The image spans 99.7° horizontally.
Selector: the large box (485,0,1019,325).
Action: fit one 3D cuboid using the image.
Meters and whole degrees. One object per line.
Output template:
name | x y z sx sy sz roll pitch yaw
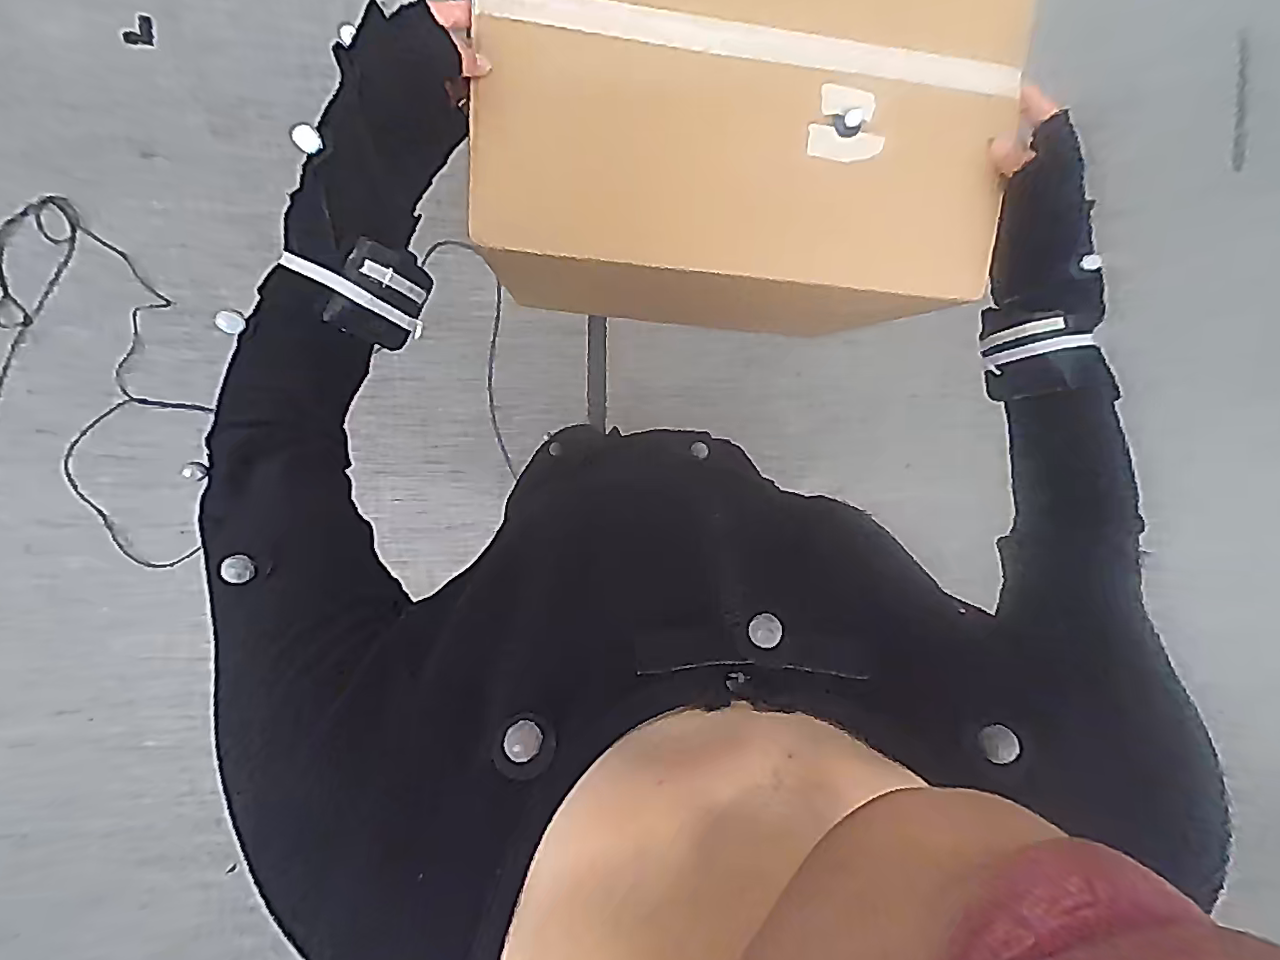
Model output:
large box | 0.070 -0.344 0.546 0.408 0.320 0.320 3 100 -8
